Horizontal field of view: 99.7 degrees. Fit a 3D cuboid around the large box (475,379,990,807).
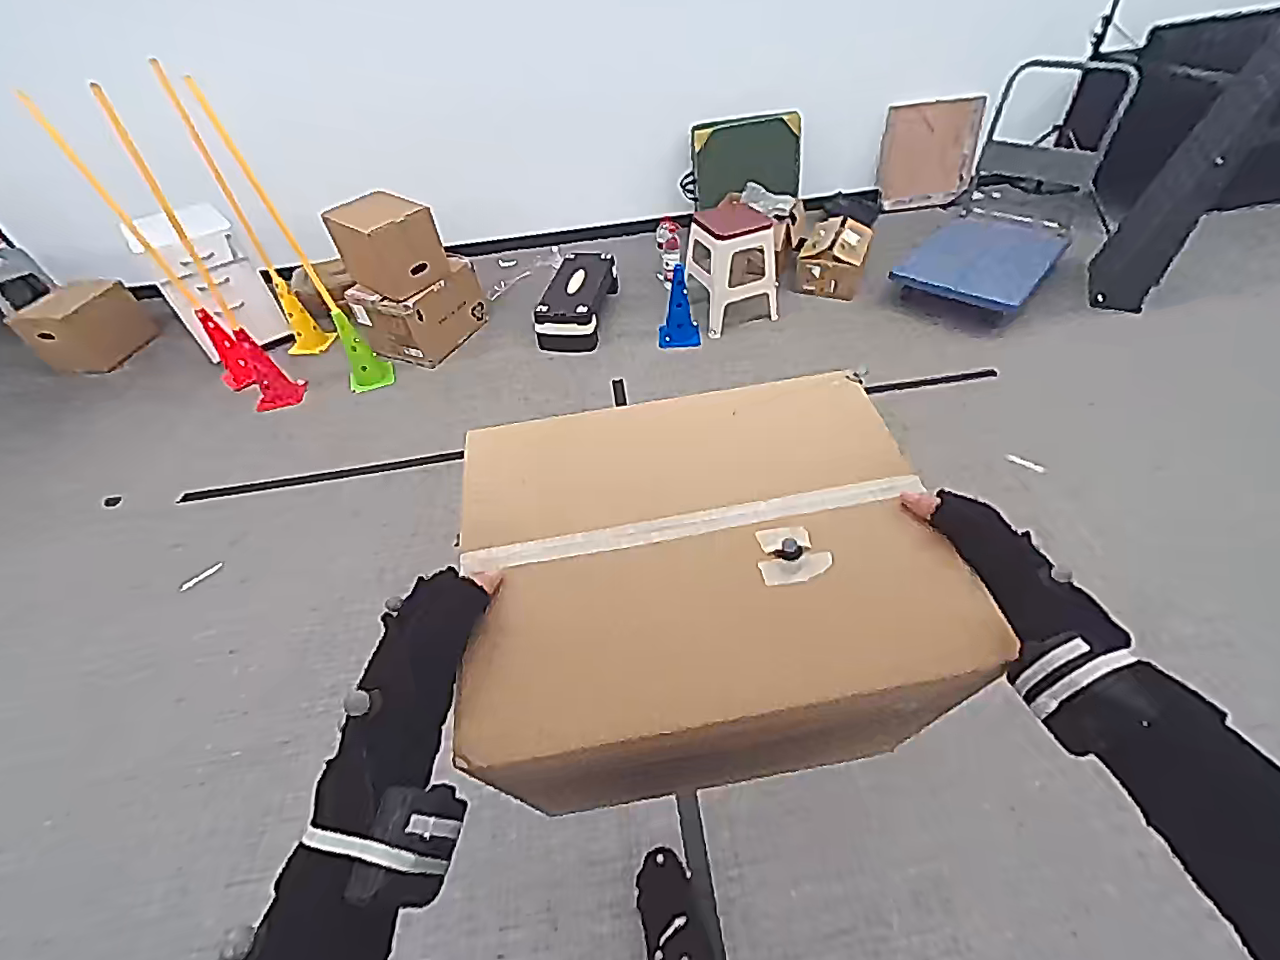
[{"bbox_3d":[0.057,0.132,0.605,0.408,0.320,0.320,-10,53,-3],"label":"large box"}]
